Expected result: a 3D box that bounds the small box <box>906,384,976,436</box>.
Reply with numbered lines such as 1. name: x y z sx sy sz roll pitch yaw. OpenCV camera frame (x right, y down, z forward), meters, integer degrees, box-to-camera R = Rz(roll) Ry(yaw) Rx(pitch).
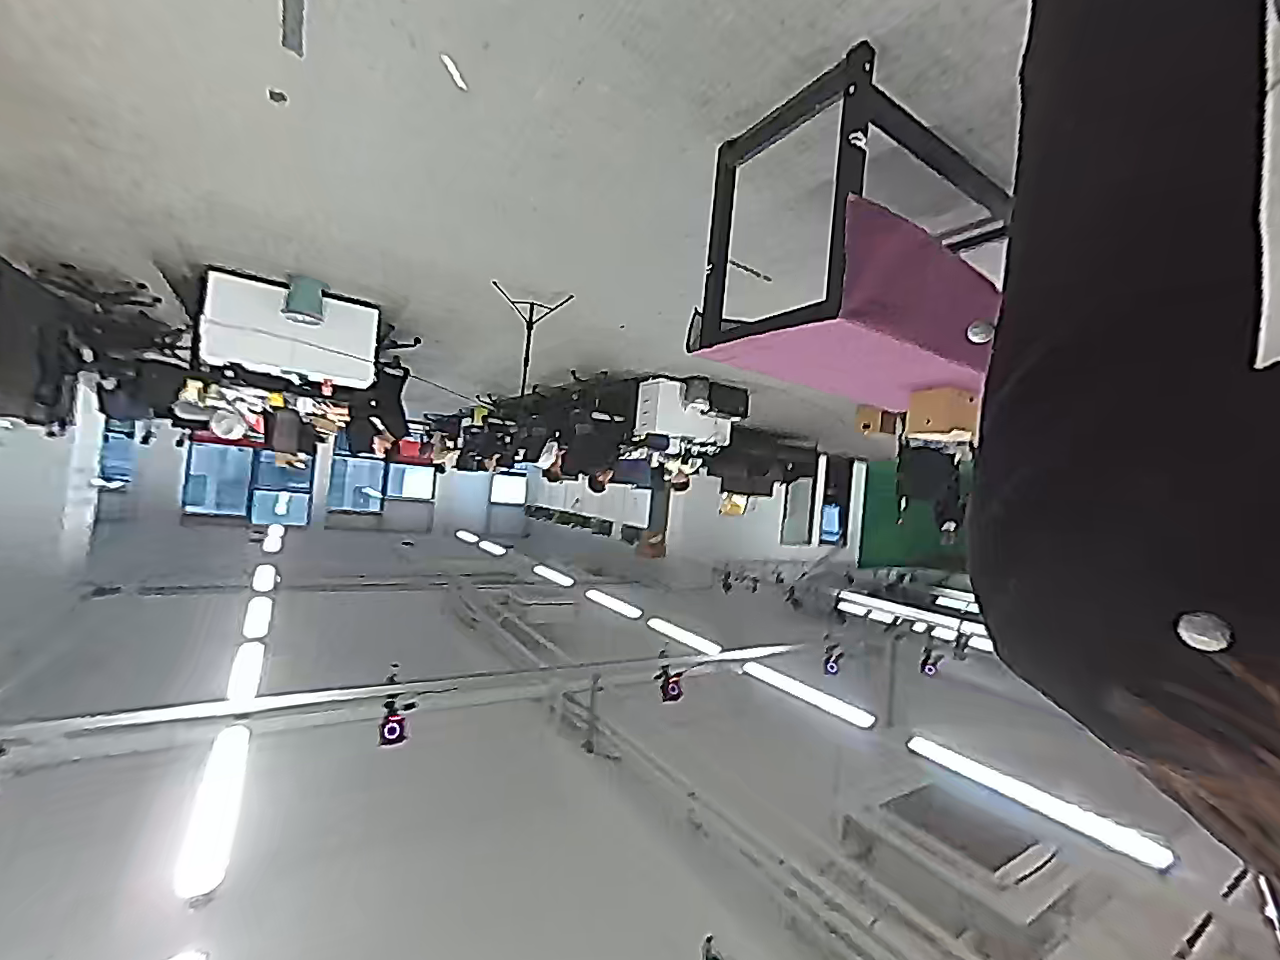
1. small box: 1.147 -0.266 2.056 0.168 0.176 0.179 6 180 -21
